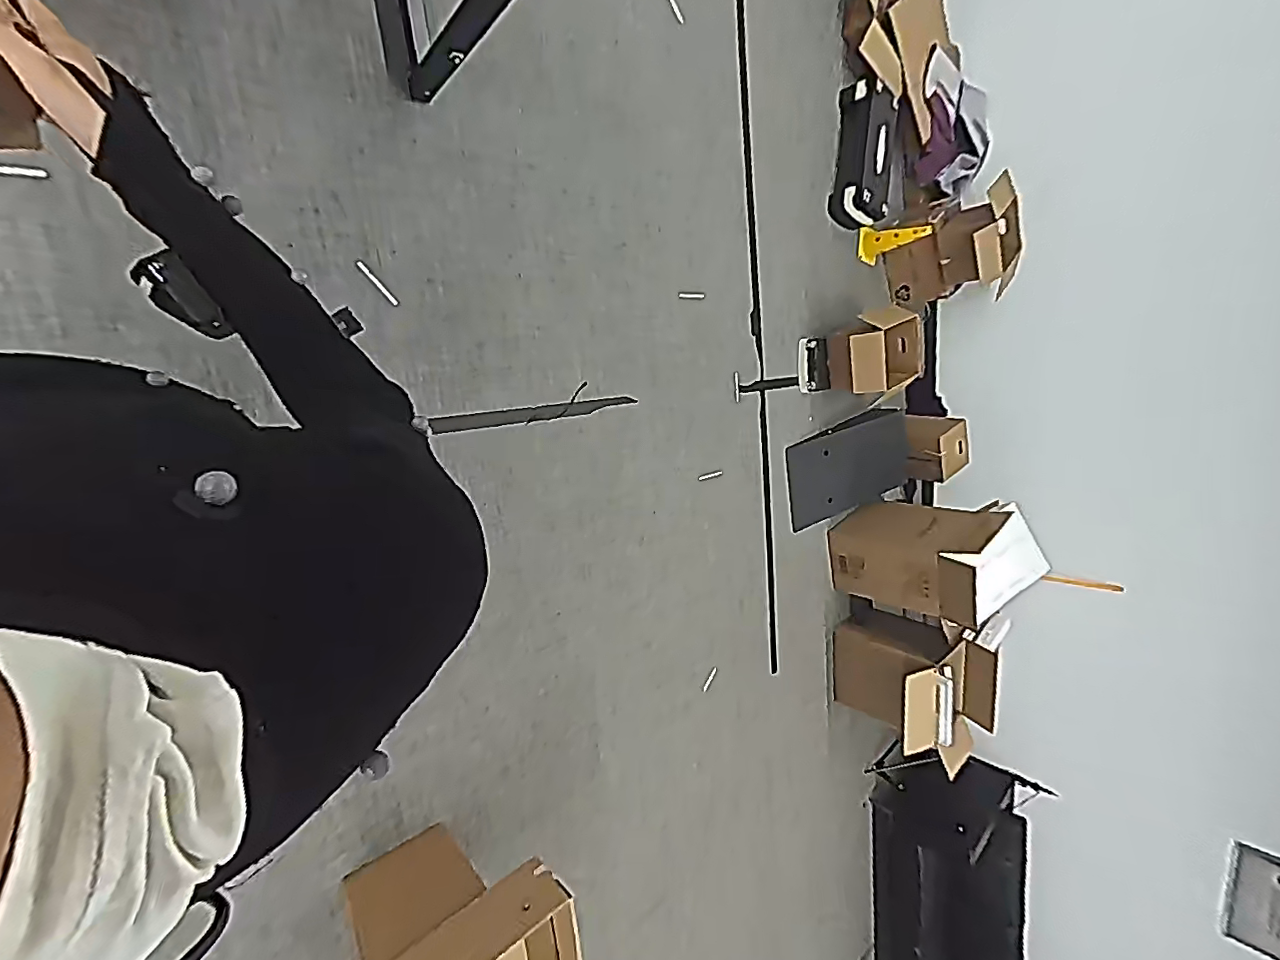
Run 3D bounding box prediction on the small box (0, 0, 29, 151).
[{"bbox_3d":[-0.543,-0.328,0.338,0.179,0.176,0.168,-30,108,-41],"label":"small box"}]
